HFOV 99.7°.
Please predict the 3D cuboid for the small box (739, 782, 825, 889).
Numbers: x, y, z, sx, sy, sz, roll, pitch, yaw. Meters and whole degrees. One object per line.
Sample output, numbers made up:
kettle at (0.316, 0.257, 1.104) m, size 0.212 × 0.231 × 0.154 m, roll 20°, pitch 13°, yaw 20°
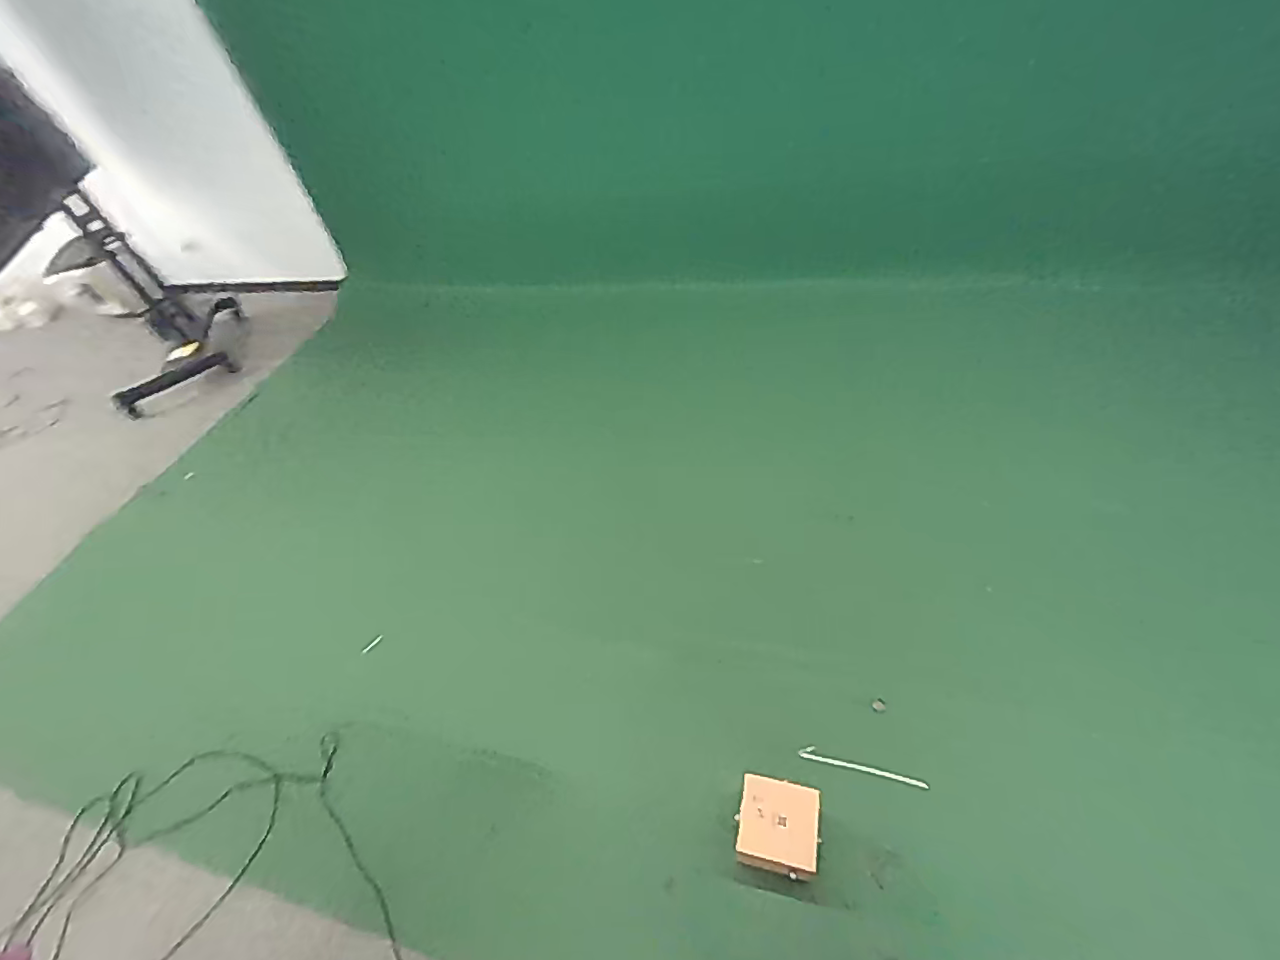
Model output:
small box at (0.338, 0.849, 1.287) m, size 0.179 × 0.176 × 0.168 m, roll 6°, pitch 49°, yaw 17°
